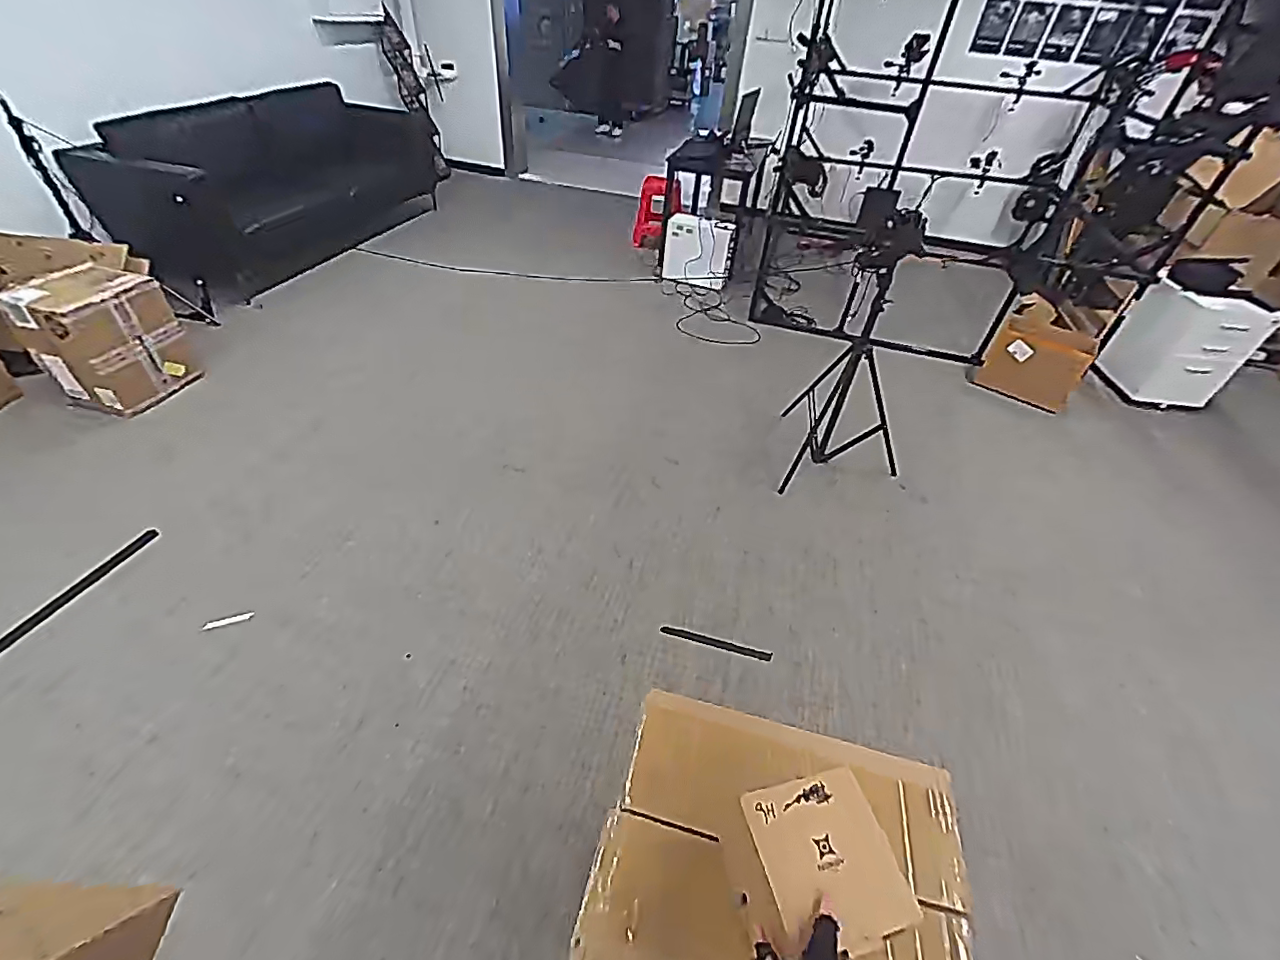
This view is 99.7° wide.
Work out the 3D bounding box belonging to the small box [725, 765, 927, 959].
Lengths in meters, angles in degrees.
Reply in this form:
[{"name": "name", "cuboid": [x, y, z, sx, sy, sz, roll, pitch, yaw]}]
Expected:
[{"name": "small box", "cuboid": [0.225, 0.510, 0.708, 0.168, 0.176, 0.179, -8, 44, -13]}]
